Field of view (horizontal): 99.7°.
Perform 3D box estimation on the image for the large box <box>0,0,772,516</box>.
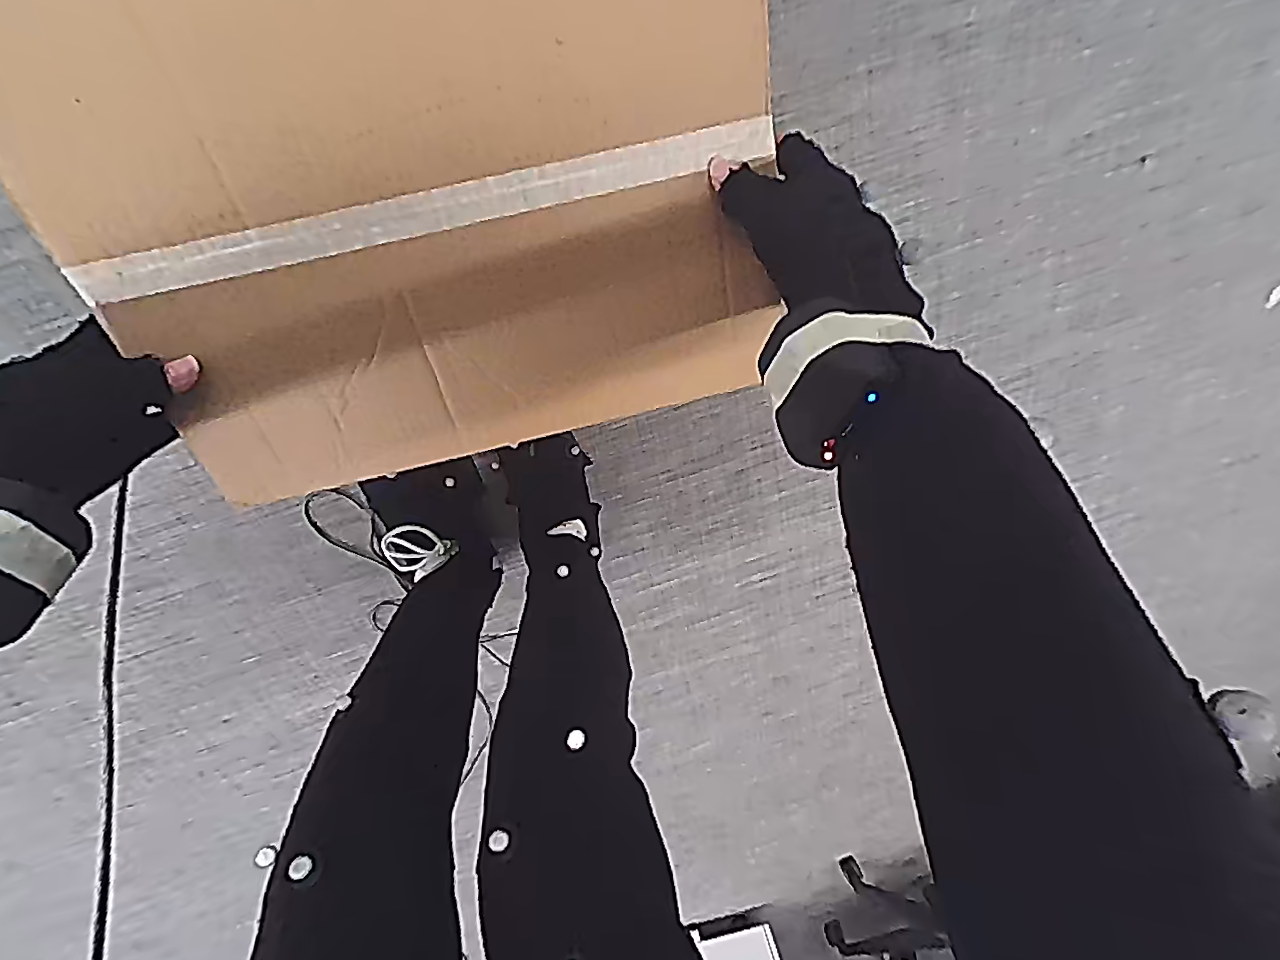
[{"bbox_3d":[-0.144,-0.224,0.443,0.408,0.320,0.320,-14,122,-3],"label":"large box"}]
